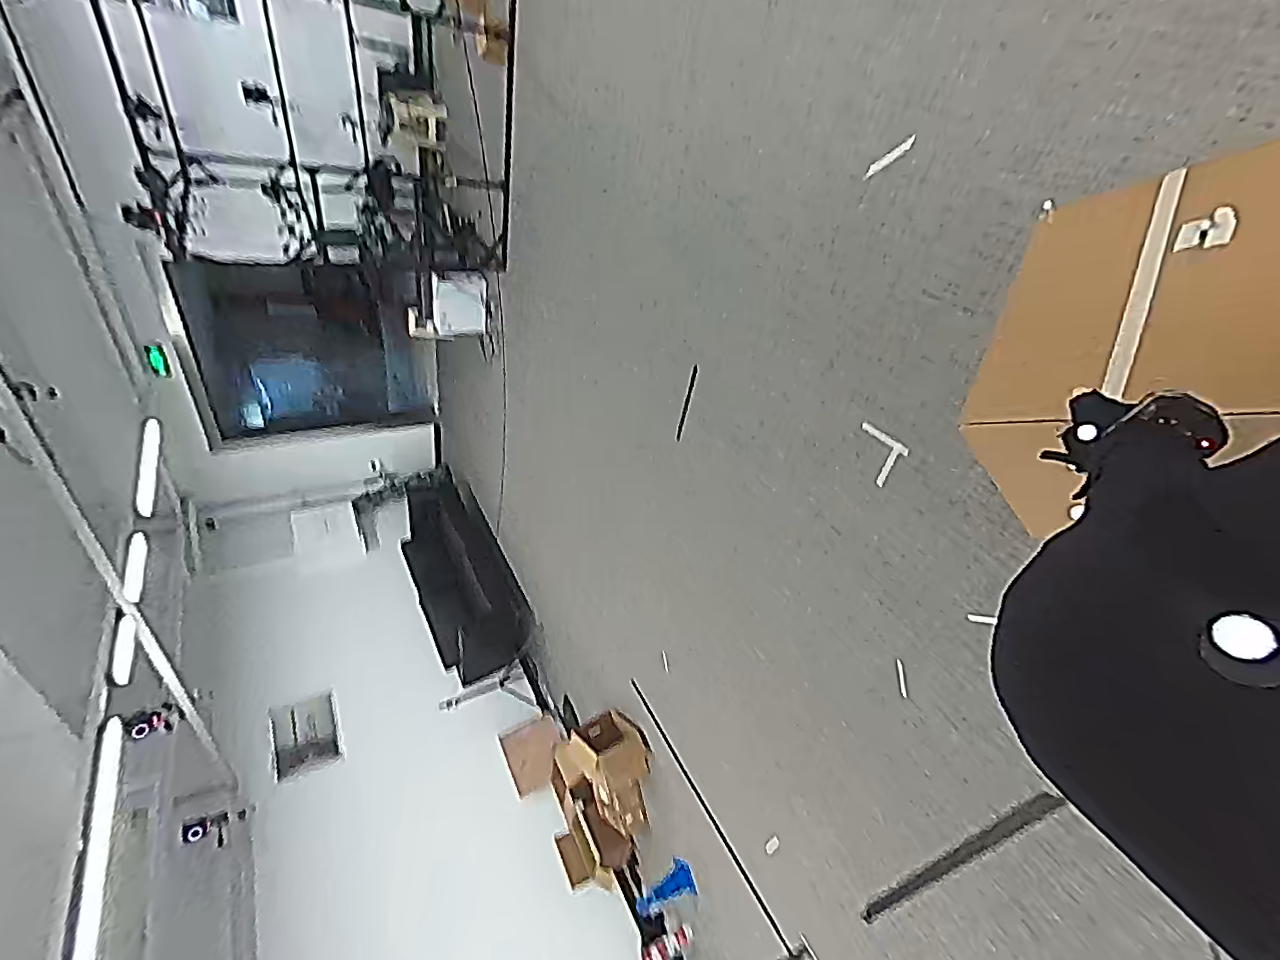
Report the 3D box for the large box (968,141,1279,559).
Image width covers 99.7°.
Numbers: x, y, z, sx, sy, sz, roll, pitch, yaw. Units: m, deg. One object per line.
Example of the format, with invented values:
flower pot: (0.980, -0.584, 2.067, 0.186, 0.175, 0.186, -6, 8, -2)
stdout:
large box: (0.711, -0.149, 0.722, 0.320, 0.320, 0.408, 5, 61, 55)
